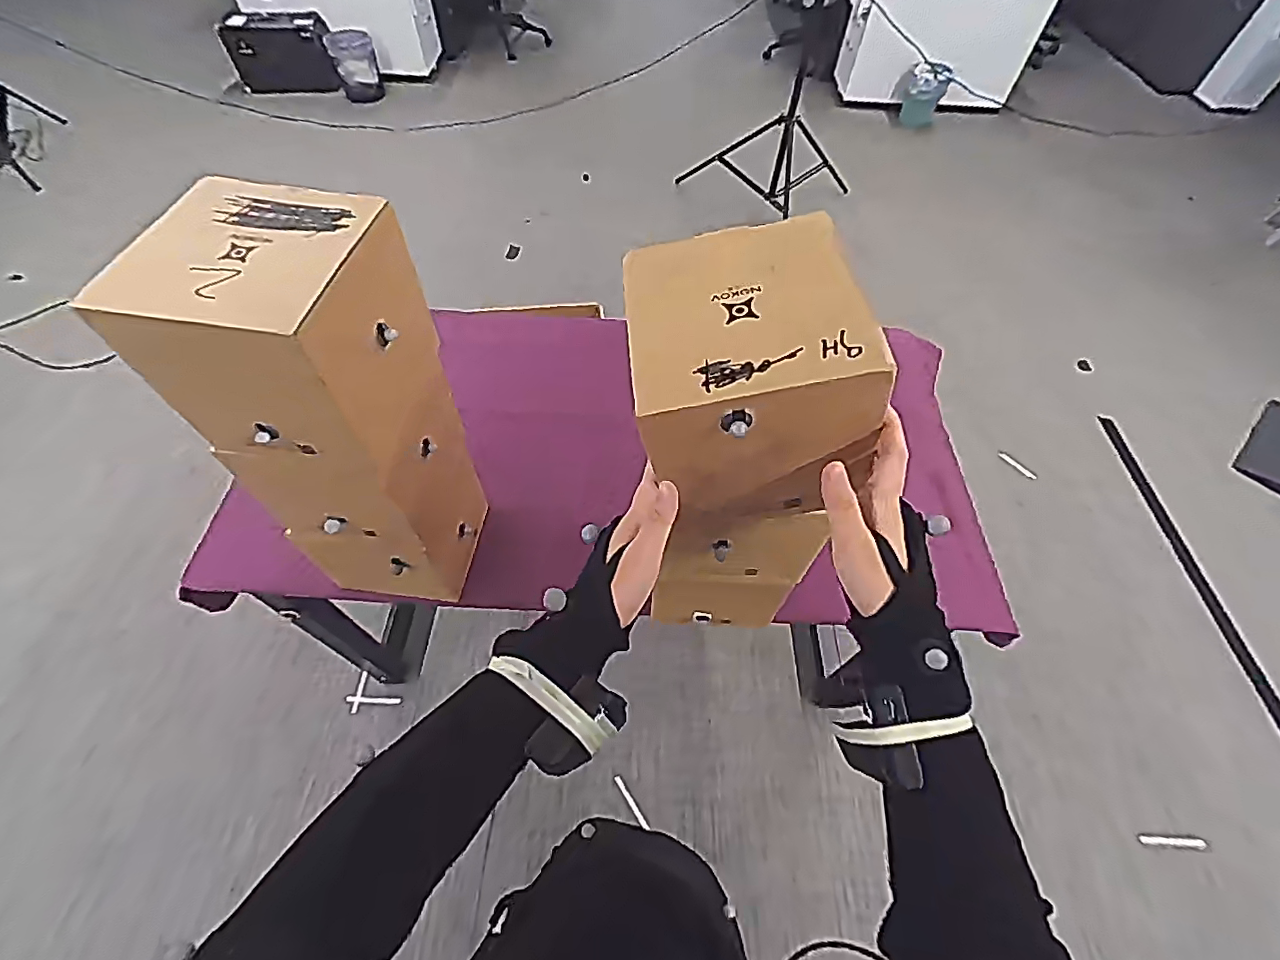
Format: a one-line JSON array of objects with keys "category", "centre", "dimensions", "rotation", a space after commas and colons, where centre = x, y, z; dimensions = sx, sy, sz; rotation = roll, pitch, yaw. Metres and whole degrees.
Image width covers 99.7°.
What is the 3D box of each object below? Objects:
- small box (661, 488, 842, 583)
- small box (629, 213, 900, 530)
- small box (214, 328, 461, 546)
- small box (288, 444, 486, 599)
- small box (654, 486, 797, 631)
[{"category": "small box", "centre": [0.110, 0.004, 0.609], "dimensions": [0.168, 0.176, 0.179], "rotation": [2, 55, 1]}, {"category": "small box", "centre": [0.089, -0.081, 0.447], "dimensions": [0.168, 0.176, 0.179], "rotation": [-10, 55, 8]}, {"category": "small box", "centre": [-0.319, -0.045, 0.621], "dimensions": [0.168, 0.176, 0.179], "rotation": [6, 57, 1]}, {"category": "small box", "centre": [-0.329, 0.054, 0.752], "dimensions": [0.179, 0.176, 0.168], "rotation": [7, 56, 2]}, {"category": "small box", "centre": [0.107, 0.093, 0.746], "dimensions": [0.168, 0.176, 0.179], "rotation": [3, 57, 1]}]
